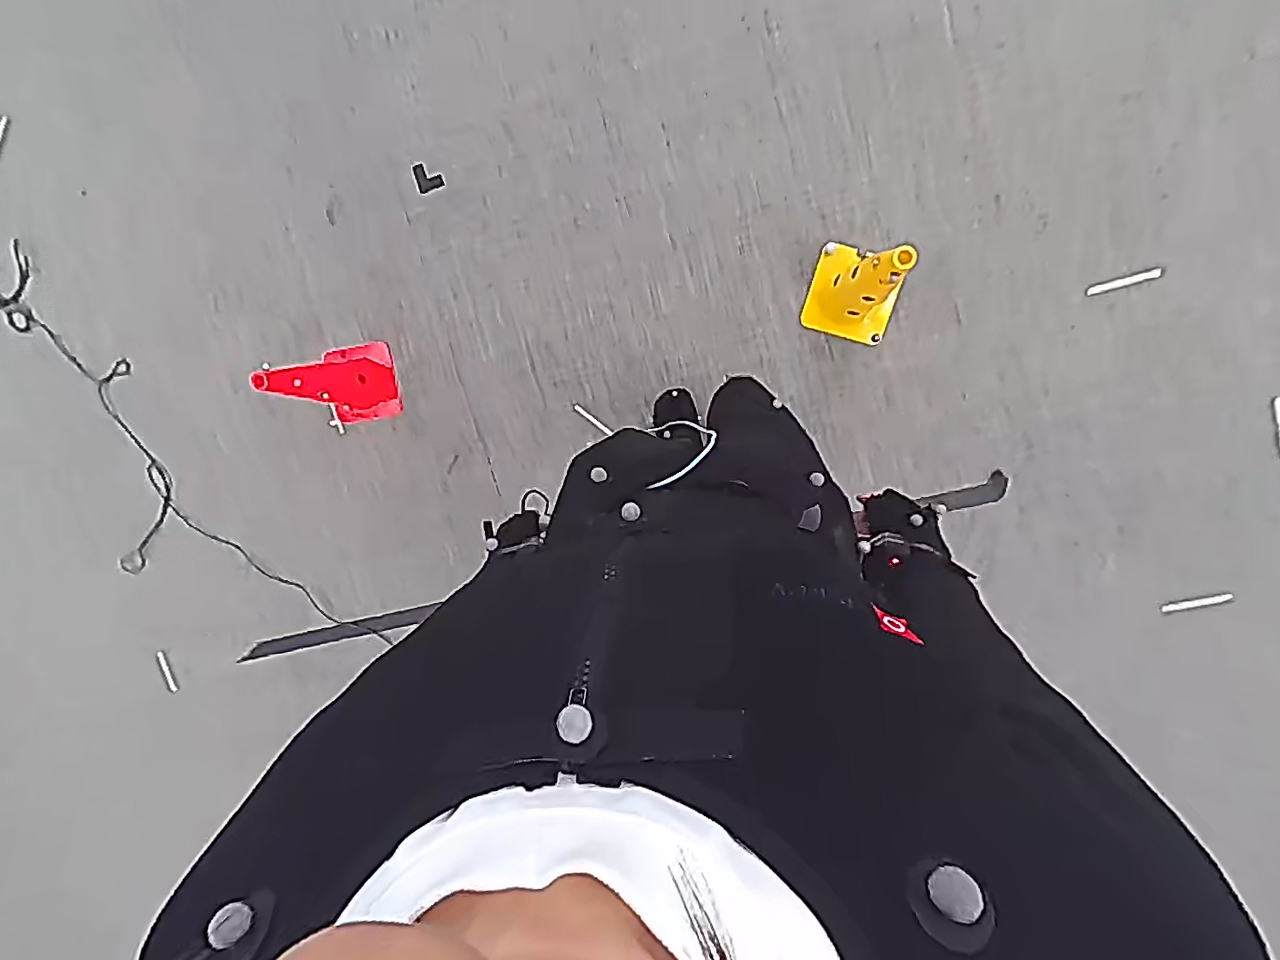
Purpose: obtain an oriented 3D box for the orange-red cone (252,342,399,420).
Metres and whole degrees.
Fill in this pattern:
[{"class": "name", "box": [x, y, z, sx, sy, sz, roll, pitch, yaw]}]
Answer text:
[{"class": "orange-red cone", "box": [-0.785, -0.240, 1.316, 0.199, 0.360, 0.198, -7, 99, 7]}]
